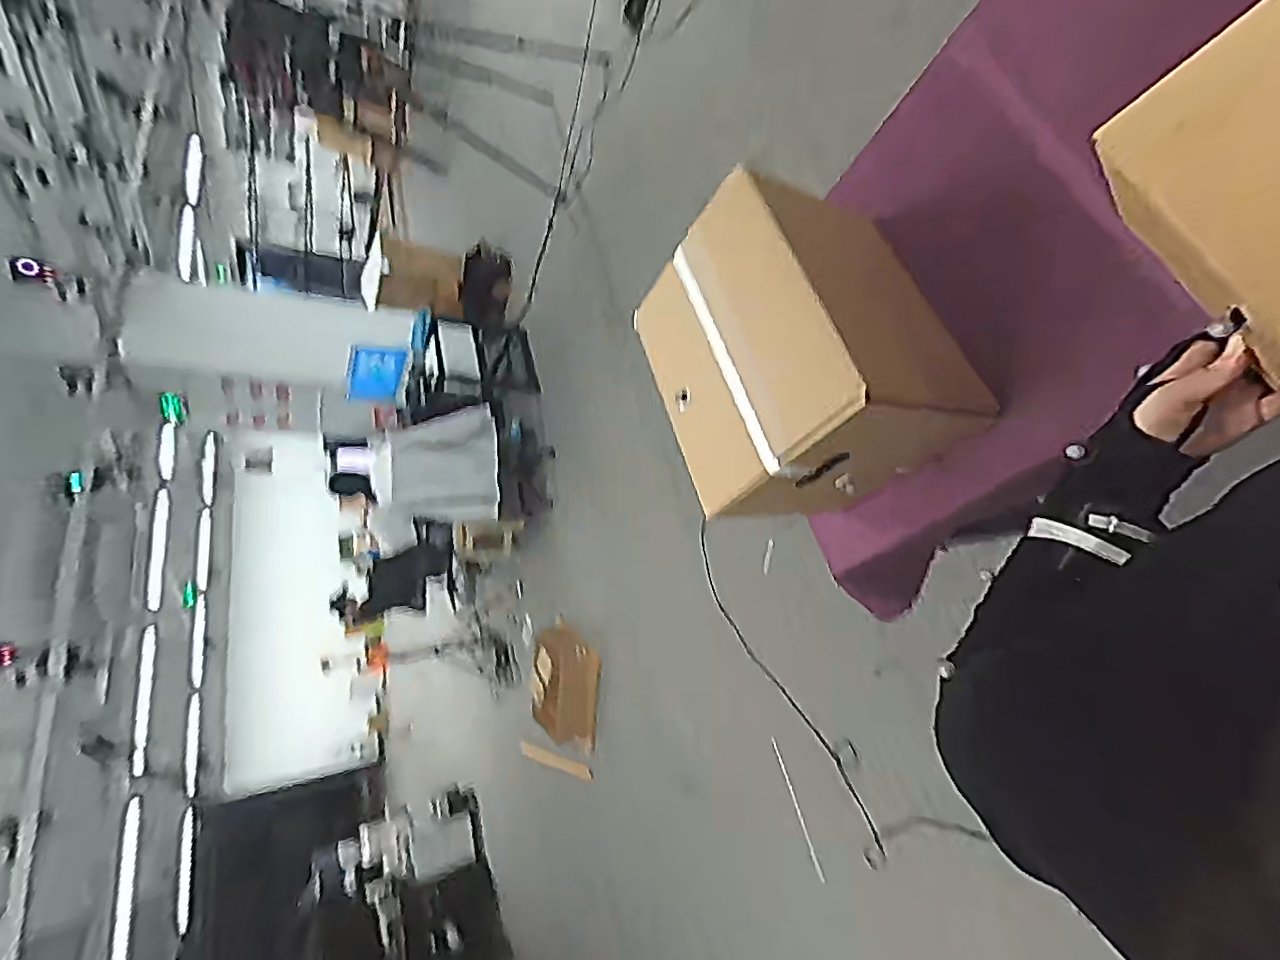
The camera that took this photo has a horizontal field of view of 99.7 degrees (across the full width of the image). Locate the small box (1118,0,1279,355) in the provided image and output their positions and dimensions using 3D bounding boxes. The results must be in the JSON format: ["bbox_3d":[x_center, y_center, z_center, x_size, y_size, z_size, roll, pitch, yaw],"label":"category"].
[{"bbox_3d":[0.418,-0.187,0.304,0.168,0.176,0.179,-37,68,41],"label":"small box"}]
